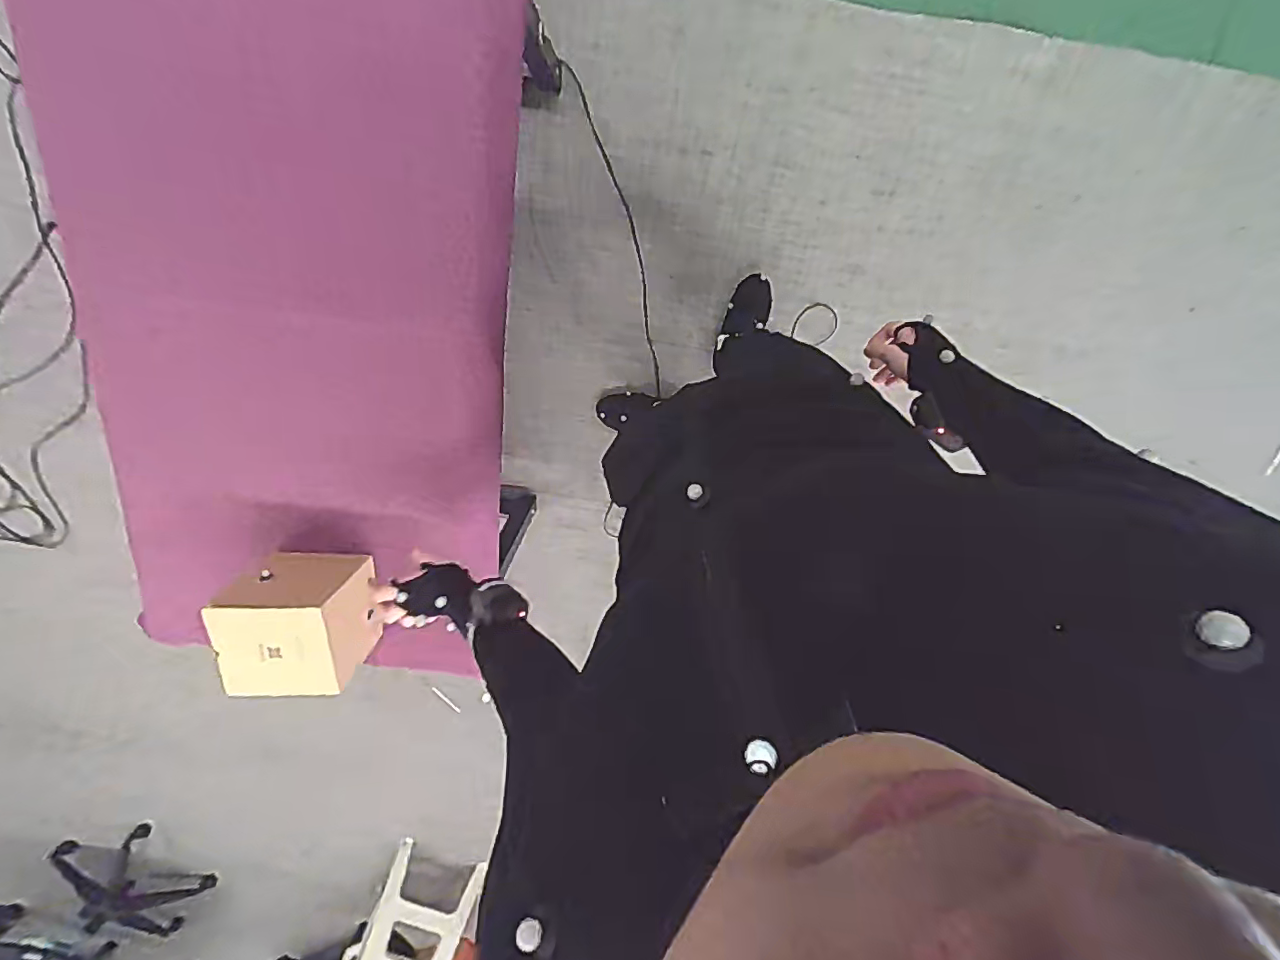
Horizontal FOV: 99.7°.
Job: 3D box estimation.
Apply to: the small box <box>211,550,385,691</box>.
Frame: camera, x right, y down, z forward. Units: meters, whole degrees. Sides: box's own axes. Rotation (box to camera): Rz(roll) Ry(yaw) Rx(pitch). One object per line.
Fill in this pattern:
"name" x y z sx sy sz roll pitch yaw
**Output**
"small box" -0.563 0.229 0.915 0.179 0.176 0.168 3 111 1
